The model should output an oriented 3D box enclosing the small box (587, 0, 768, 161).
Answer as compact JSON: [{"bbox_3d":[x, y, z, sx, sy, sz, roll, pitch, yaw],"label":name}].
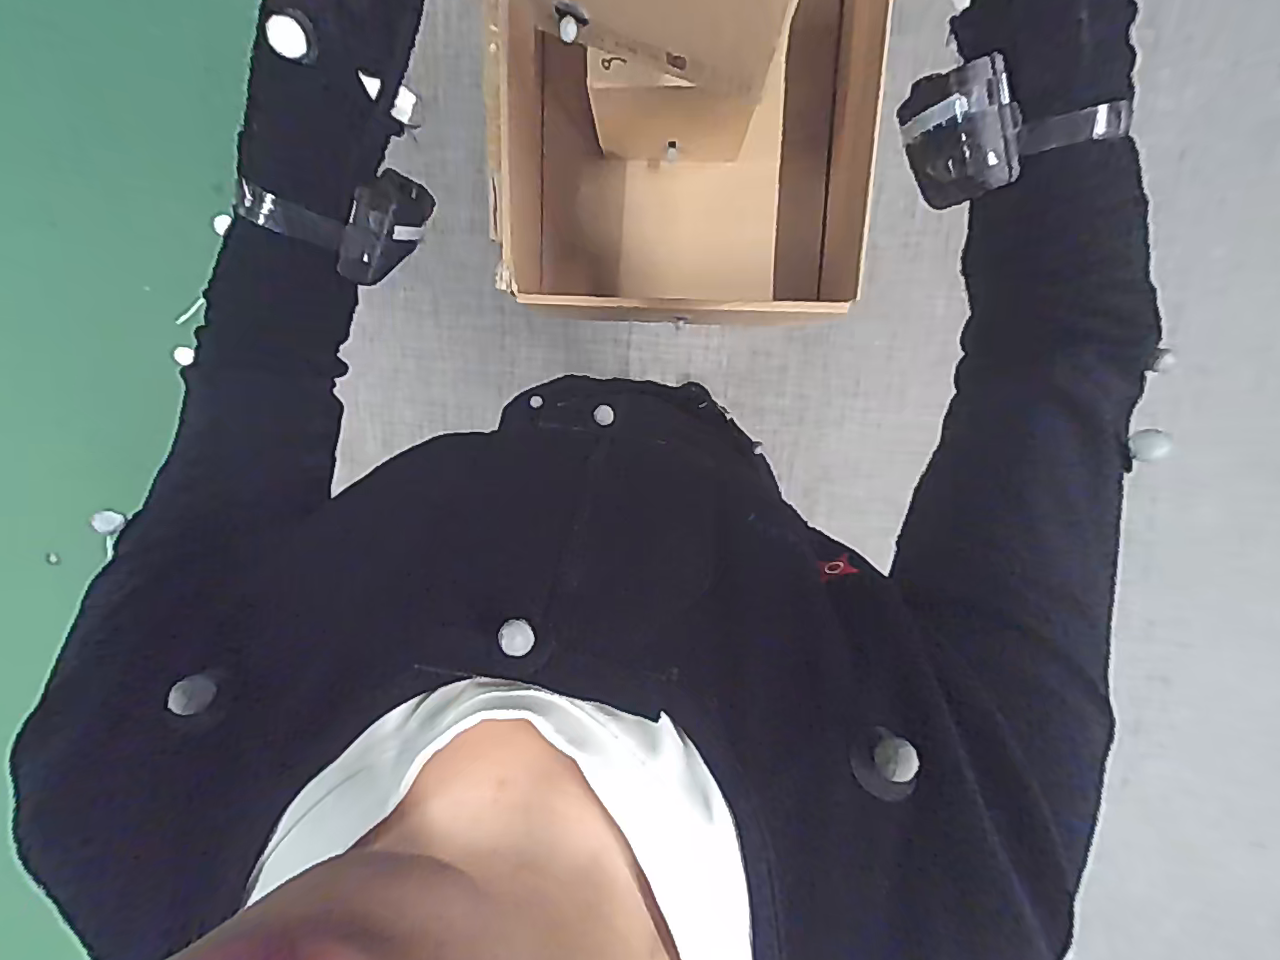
[{"bbox_3d":[0.038,-0.478,0.600,0.179,0.176,0.168,2,98,1],"label":"small box"}]
